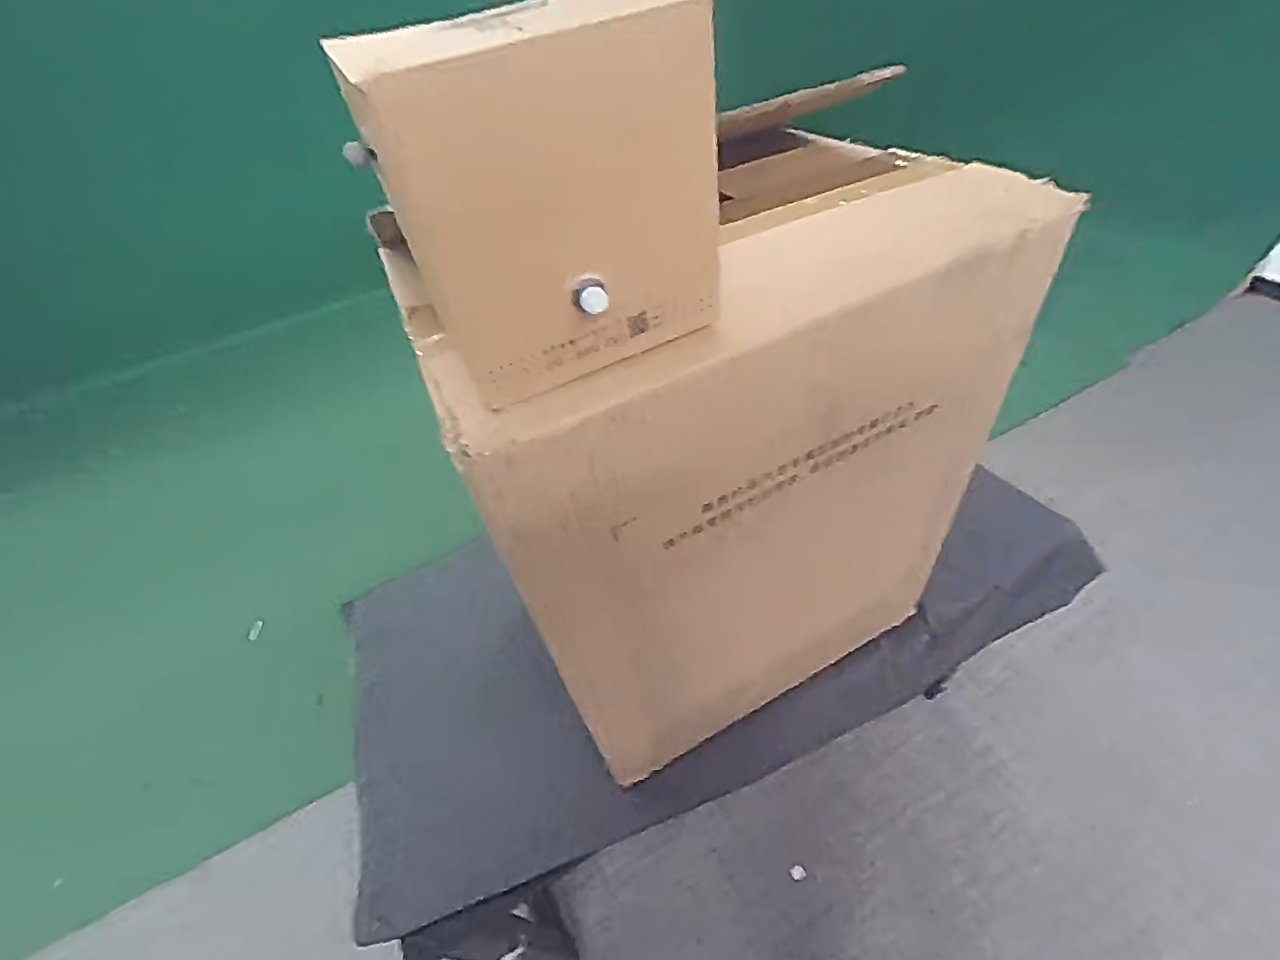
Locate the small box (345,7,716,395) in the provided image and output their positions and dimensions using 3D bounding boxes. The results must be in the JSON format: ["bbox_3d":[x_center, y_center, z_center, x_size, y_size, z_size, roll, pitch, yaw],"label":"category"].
[{"bbox_3d":[-0.064,-0.184,0.353,0.168,0.176,0.179,-25,47,-13],"label":"small box"}]
